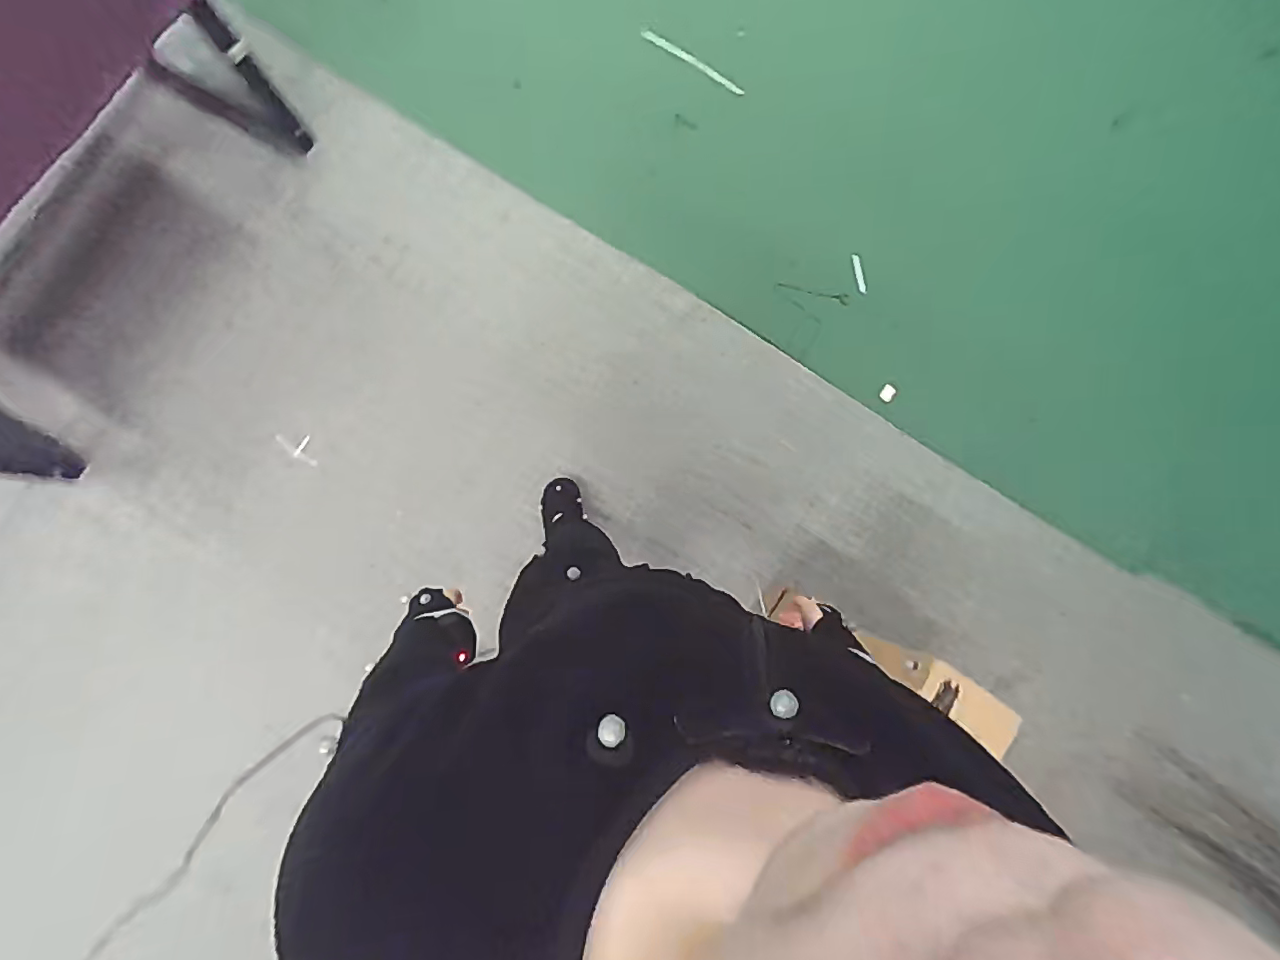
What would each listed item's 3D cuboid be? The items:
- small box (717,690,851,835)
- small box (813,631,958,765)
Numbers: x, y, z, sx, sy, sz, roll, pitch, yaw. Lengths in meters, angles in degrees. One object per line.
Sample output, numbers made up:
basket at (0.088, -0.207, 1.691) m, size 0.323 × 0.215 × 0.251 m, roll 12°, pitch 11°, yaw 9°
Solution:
small box at (0.278, 0.552, 1.092) m, size 0.179 × 0.176 × 0.168 m, roll 40°, pitch 85°, yaw 0°
small box at (0.497, 0.436, 1.117) m, size 0.179 × 0.176 × 0.168 m, roll 40°, pitch 82°, yaw -1°
